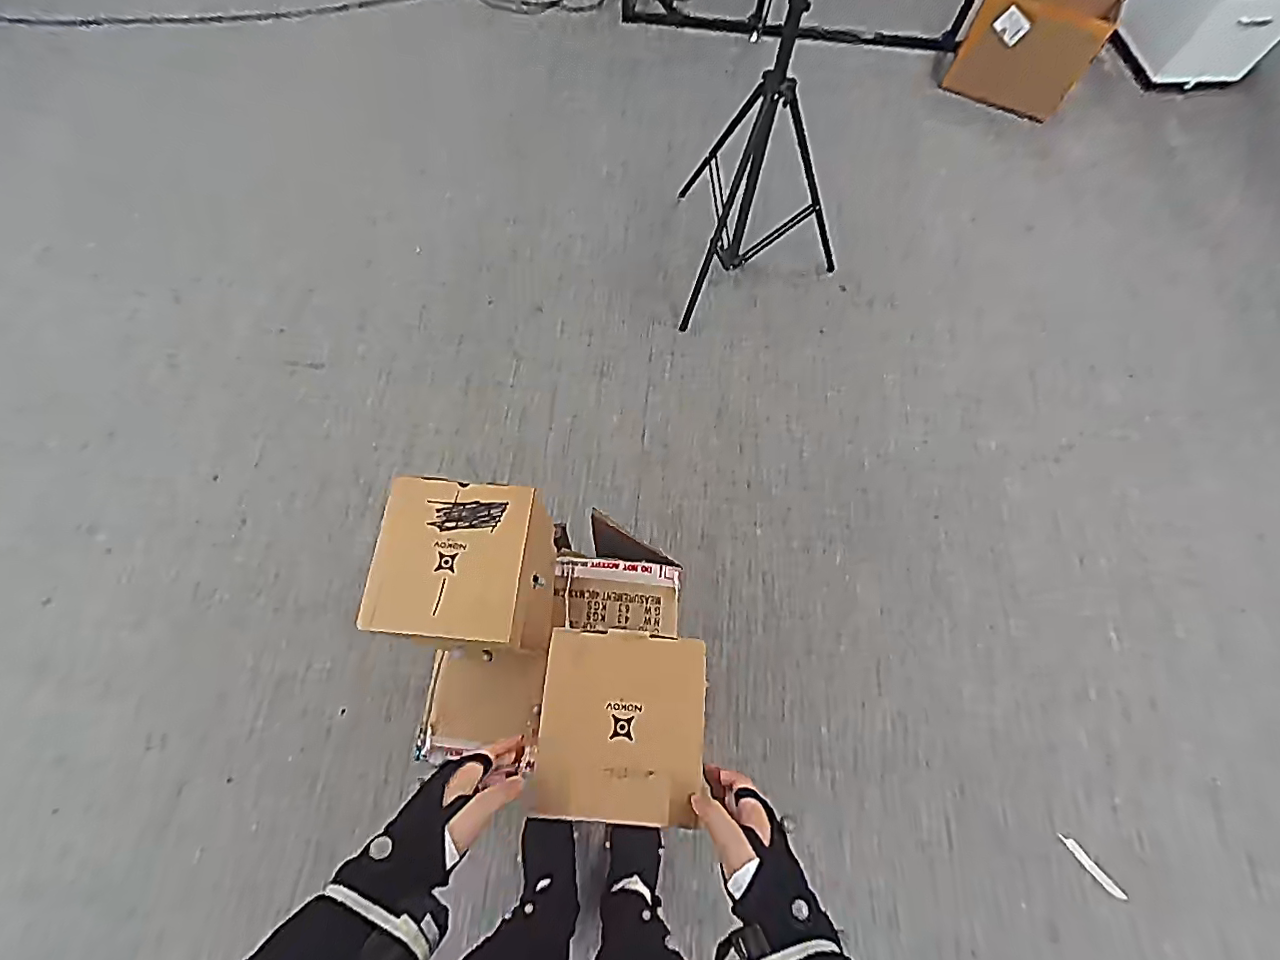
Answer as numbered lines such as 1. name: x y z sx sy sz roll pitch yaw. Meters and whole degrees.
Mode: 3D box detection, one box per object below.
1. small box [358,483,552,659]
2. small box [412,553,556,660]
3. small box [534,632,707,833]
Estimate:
1. small box: -0.208 0.119 0.666 0.168 0.176 0.179 4 69 2
2. small box: -0.224 0.175 0.821 0.168 0.176 0.179 1 69 0
3. small box: -0.017 0.275 0.612 0.168 0.176 0.179 3 69 0
